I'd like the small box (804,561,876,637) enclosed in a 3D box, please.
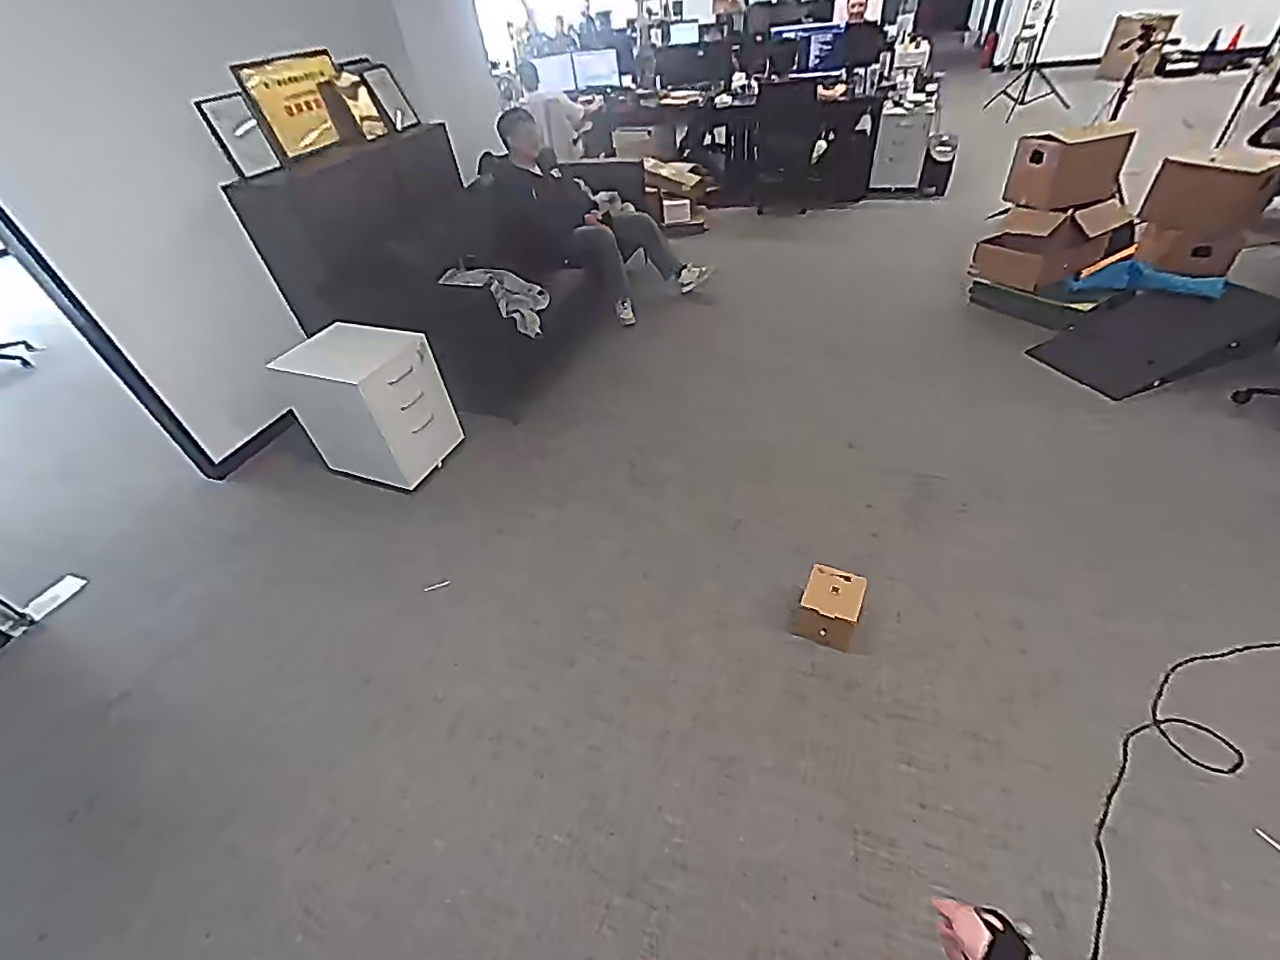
[{"bbox_3d":[0.623,0.379,1.707,0.179,0.176,0.168,-7,40,4],"label":"small box"}]
